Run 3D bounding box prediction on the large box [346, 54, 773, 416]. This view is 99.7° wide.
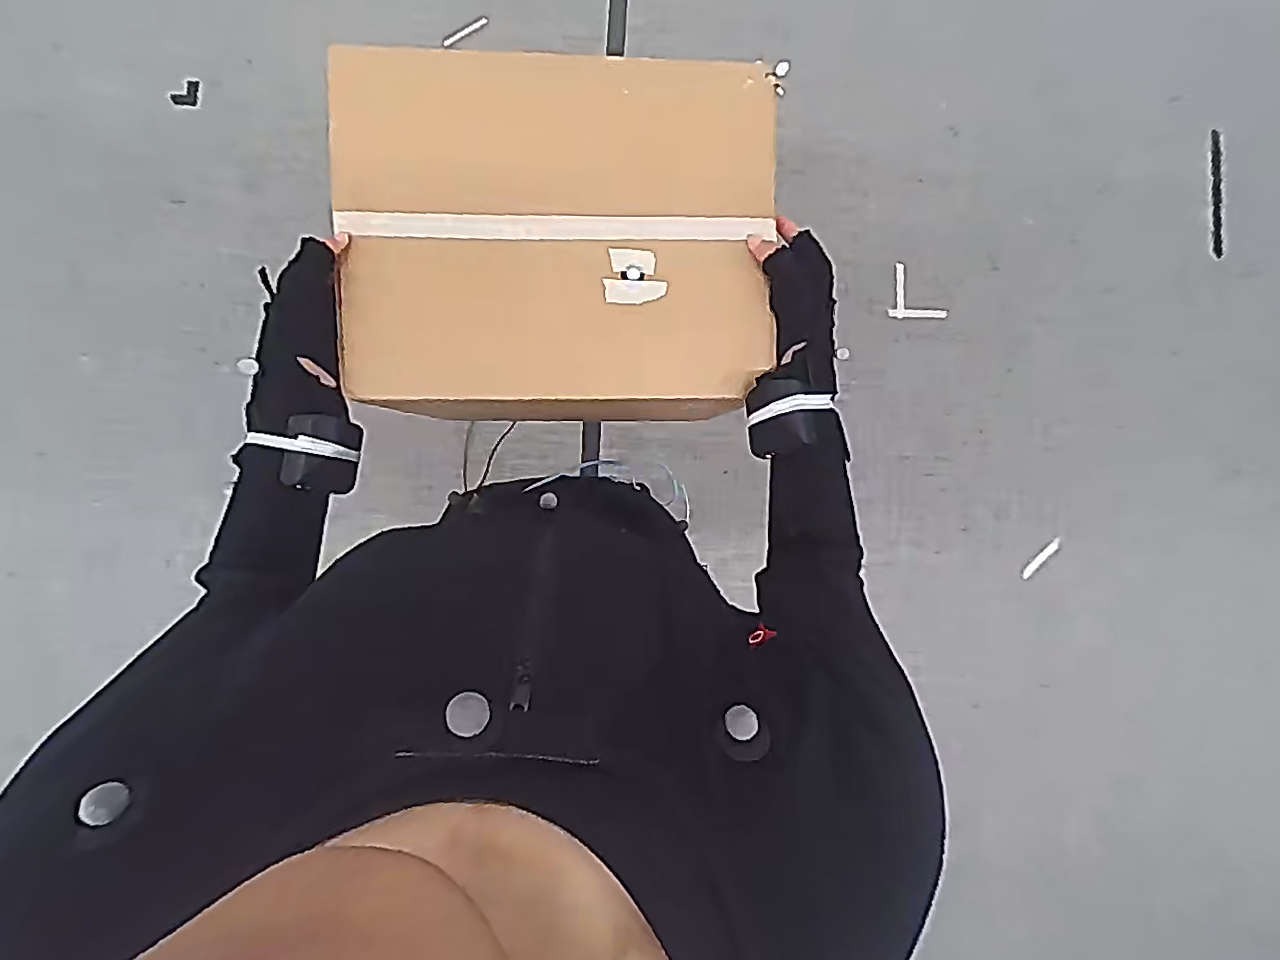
[{"bbox_3d":[-0.082,-0.247,0.662,0.408,0.320,0.320,-1,94,-5],"label":"large box"}]
